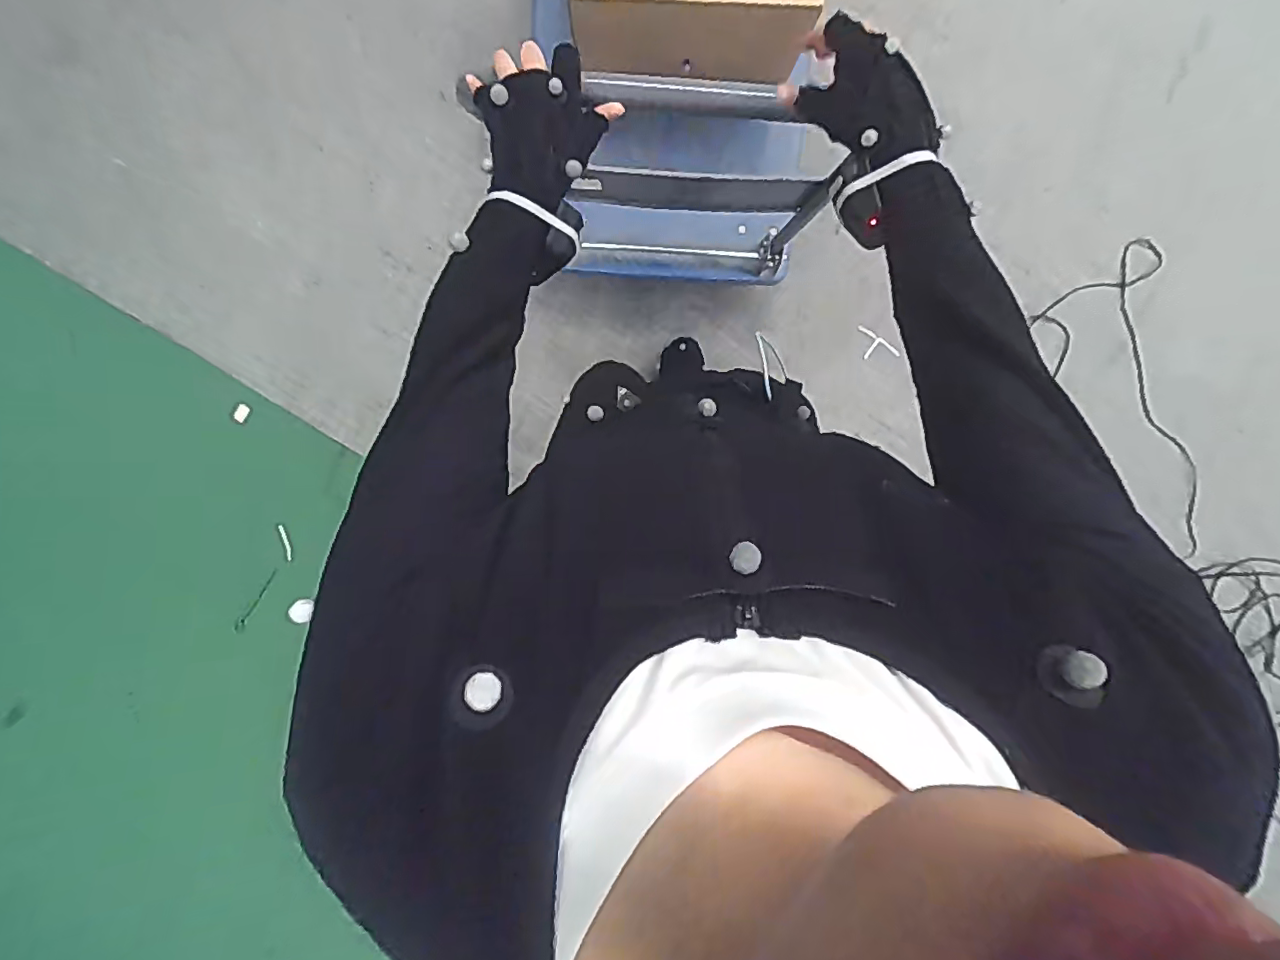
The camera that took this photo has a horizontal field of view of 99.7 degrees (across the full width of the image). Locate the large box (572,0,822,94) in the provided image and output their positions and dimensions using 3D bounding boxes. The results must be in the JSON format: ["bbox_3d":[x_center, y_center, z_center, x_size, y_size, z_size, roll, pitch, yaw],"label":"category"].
[{"bbox_3d":[0.095,-0.931,0.965,0.408,0.320,0.320,2,101,0],"label":"large box"}]
